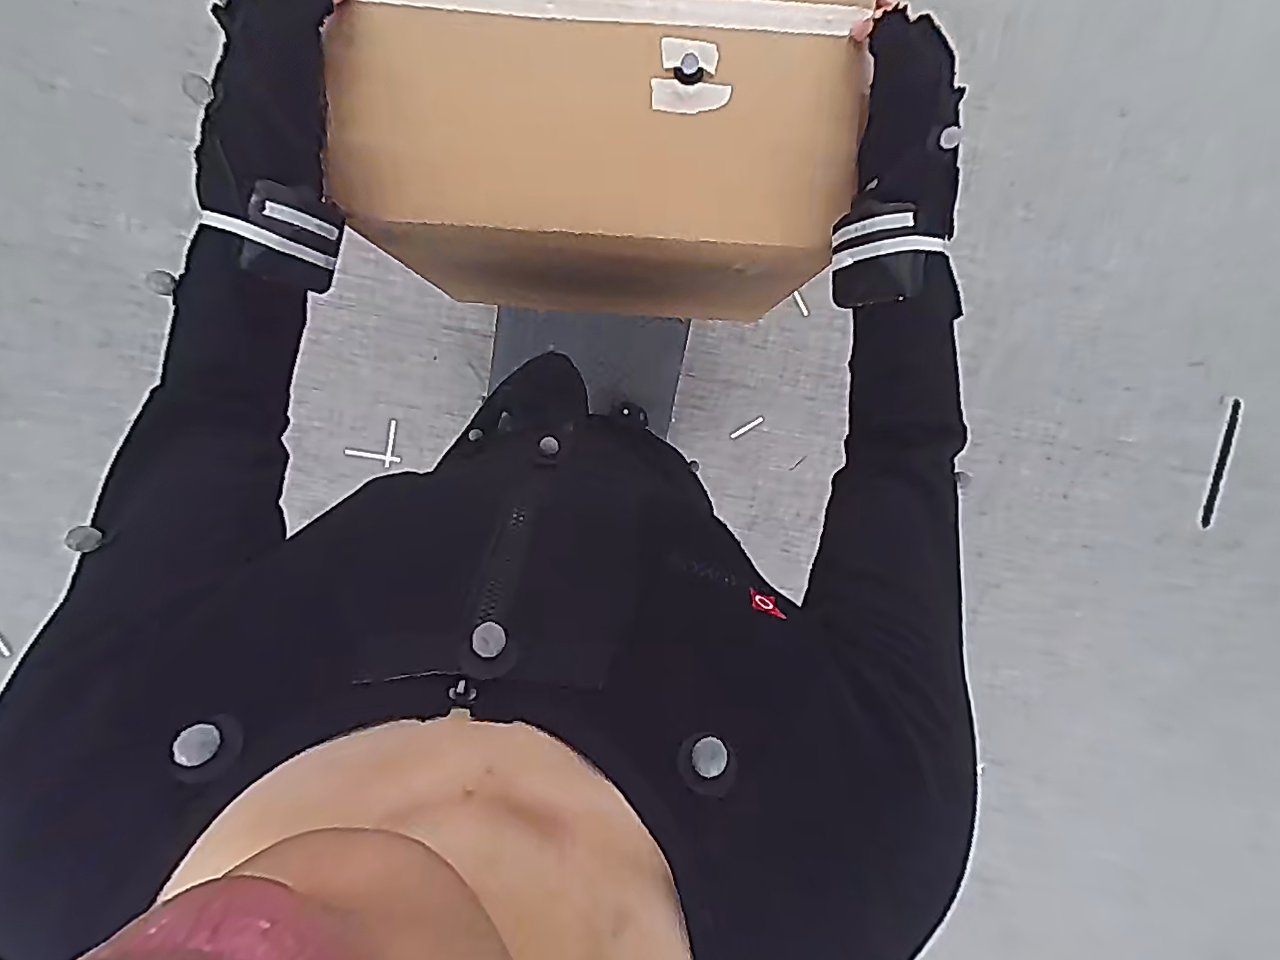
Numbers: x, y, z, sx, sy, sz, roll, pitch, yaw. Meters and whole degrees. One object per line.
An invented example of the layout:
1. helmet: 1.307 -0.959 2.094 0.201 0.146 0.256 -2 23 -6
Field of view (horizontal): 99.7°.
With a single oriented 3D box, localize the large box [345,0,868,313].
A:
1. large box: -0.029 -0.367 0.560 0.408 0.320 0.320 3 96 -2
